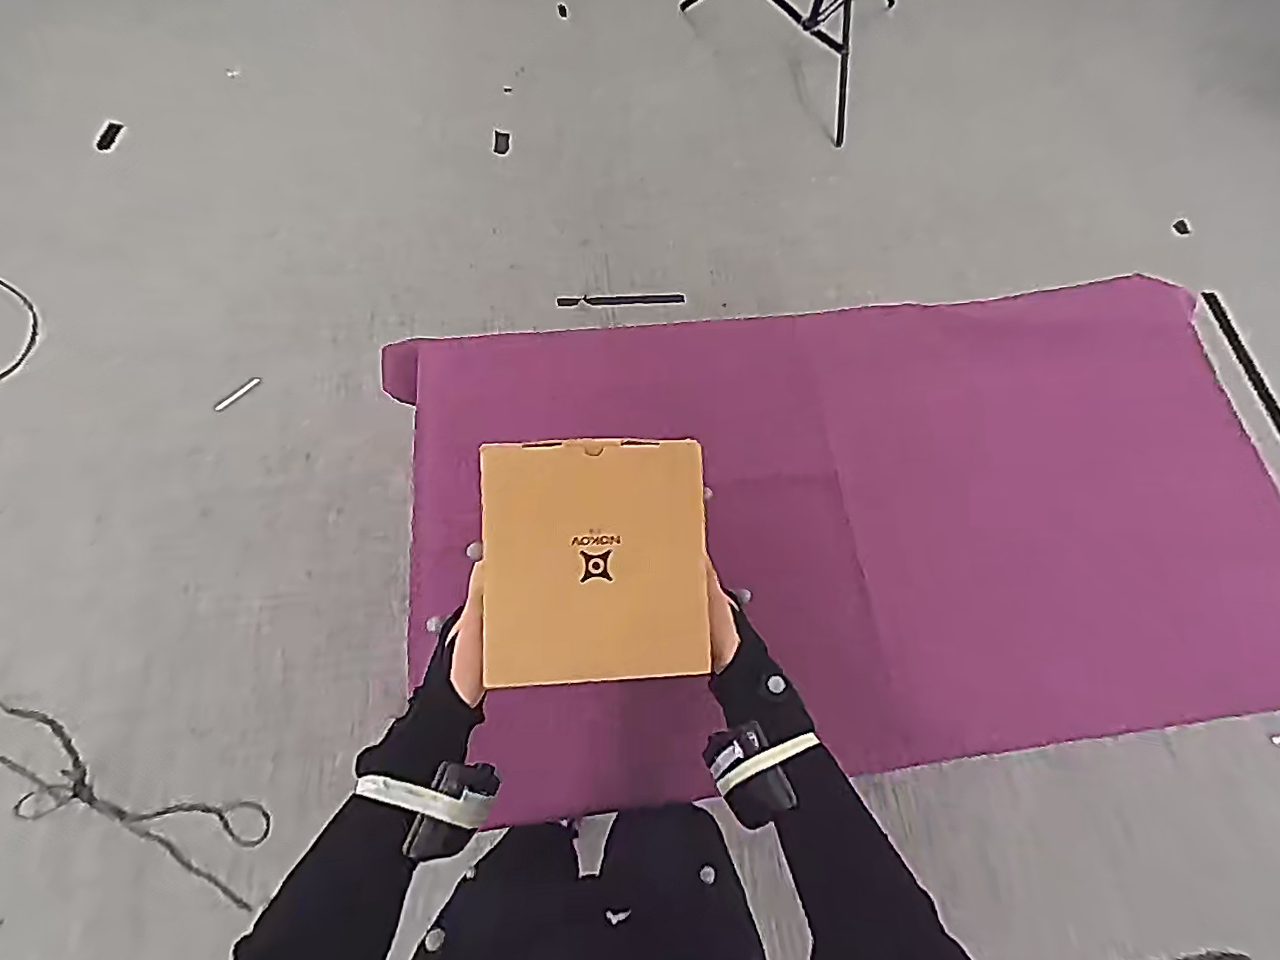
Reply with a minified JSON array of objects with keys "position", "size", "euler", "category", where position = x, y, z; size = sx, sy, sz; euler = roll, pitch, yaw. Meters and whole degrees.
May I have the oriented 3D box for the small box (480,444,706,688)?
[{"position":[-0.041,0.068,0.474],"size":[0.168,0.176,0.179],"euler":[-1,83,-6],"category":"small box"}]
